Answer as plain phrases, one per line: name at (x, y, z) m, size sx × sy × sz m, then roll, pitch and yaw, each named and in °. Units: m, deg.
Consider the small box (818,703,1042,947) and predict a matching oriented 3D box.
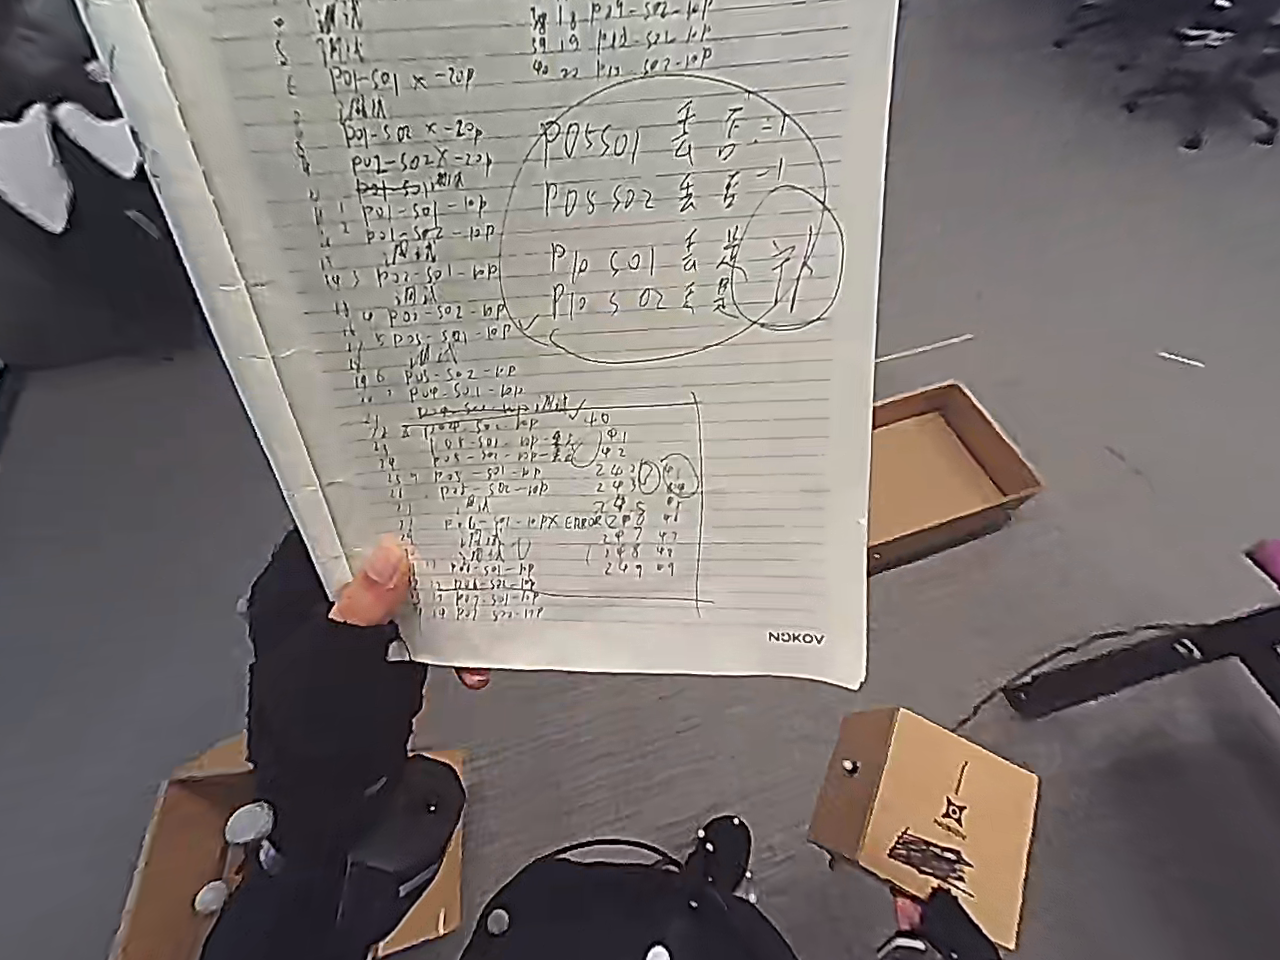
small box at (0.337, 0.399, 0.657) m, size 0.168 × 0.176 × 0.179 m, roll 26°, pitch 65°, yaw 9°
